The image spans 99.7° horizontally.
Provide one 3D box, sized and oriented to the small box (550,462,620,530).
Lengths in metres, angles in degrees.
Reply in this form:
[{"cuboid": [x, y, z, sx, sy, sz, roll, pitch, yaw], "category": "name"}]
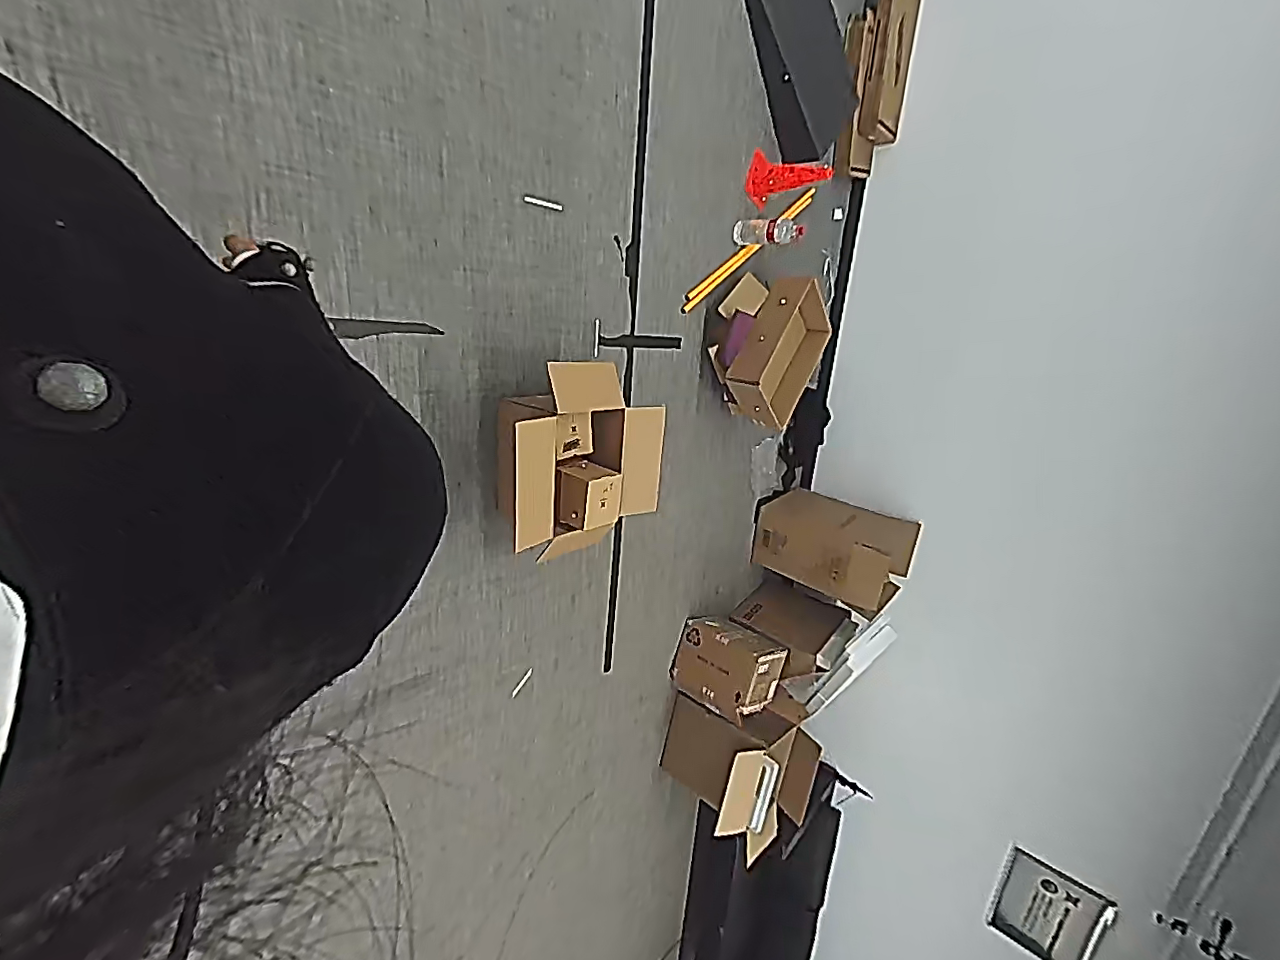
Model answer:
[{"cuboid": [-0.190, 0.048, 1.835, 0.168, 0.176, 0.179, -13, 115, -49], "category": "small box"}]
